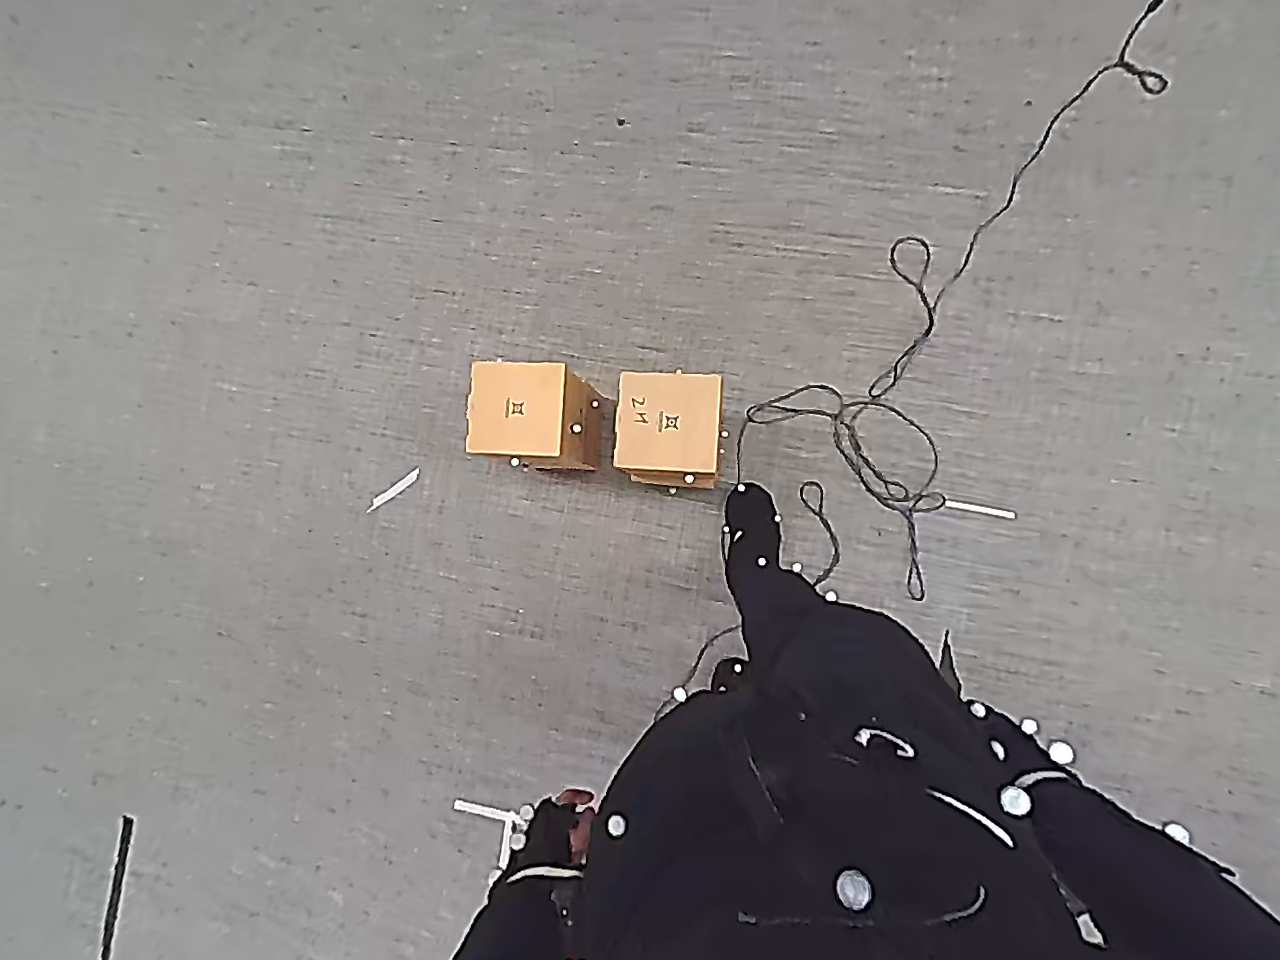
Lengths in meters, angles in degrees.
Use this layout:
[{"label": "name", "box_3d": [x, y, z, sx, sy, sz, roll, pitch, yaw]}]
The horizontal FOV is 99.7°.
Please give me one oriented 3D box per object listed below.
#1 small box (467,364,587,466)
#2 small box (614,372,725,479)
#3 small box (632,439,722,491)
[{"label": "small box", "box_3d": [-0.204, -0.117, 1.020, 0.179, 0.176, 0.168, 2, 87, 9]}, {"label": "small box", "box_3d": [0.060, -0.091, 0.975, 0.179, 0.176, 0.168, 4, 87, 10]}, {"label": "small box", "box_3d": [0.085, -0.072, 1.138, 0.168, 0.176, 0.179, 6, 89, 10]}]
